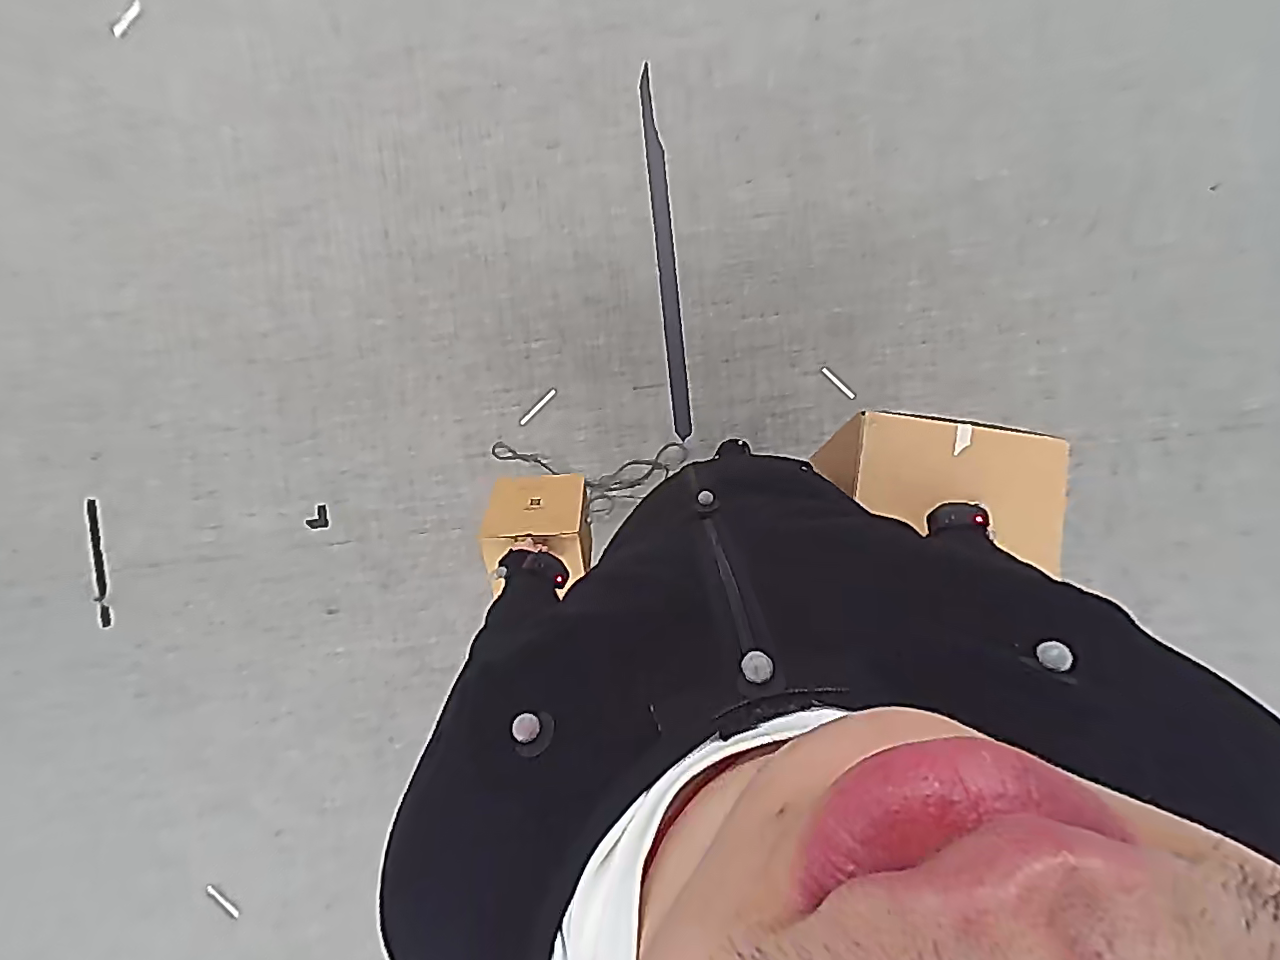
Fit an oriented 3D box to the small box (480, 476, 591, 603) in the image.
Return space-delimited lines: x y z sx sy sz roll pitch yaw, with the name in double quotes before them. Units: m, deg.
"small box" -0.179 0.112 0.992 0.168 0.179 0.176 -2 124 -1
